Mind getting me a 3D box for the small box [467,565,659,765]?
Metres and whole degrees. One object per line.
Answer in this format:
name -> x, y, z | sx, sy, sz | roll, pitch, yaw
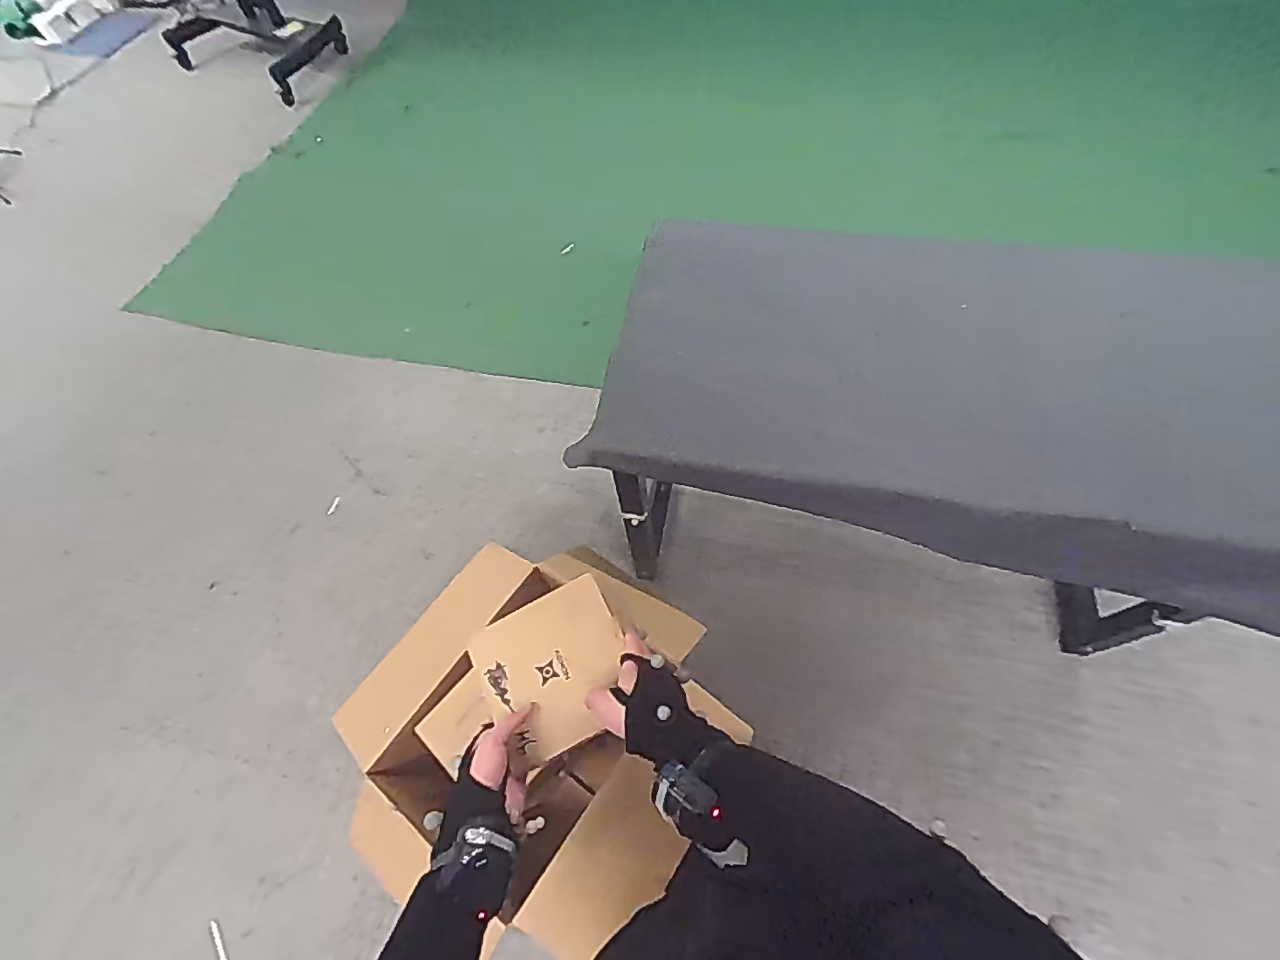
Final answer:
small box -> -0.084, 0.229, 0.687 | 0.179, 0.176, 0.168 | -27, 69, -2
